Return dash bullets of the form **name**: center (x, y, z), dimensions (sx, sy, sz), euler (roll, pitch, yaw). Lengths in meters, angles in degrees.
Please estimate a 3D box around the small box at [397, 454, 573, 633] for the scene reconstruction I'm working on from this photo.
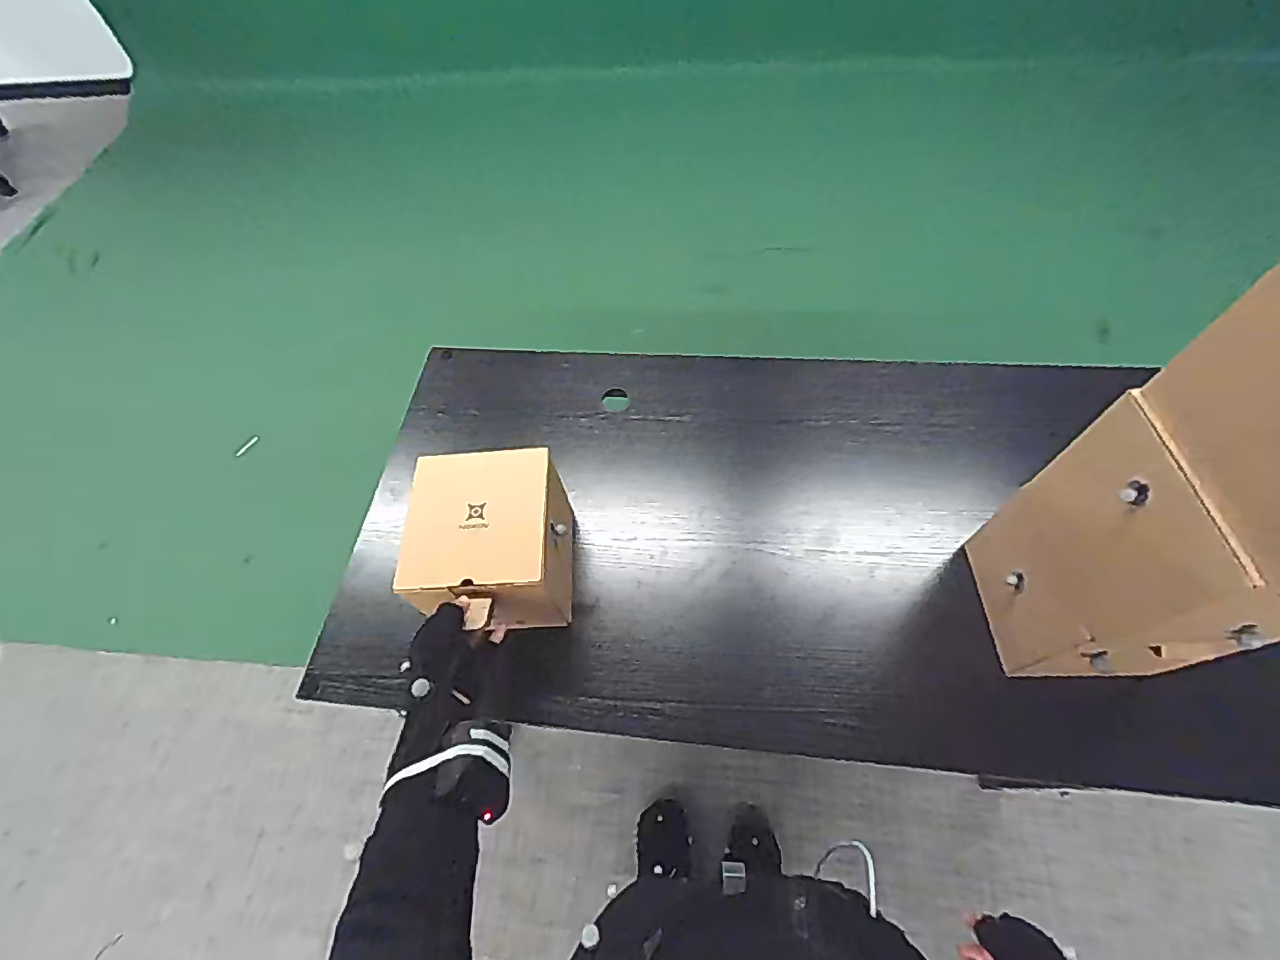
- **small box**: center (-0.182, 0.086, 0.695), dimensions (0.168, 0.176, 0.179), euler (-4, 61, 2)

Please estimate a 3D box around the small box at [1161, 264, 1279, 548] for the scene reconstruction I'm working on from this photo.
- **small box**: center (0.486, -0.053, 0.316), dimensions (0.168, 0.176, 0.179), euler (-4, 59, 3)

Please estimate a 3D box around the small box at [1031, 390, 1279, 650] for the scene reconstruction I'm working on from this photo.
- **small box**: center (0.493, 0.037, 0.472), dimensions (0.168, 0.176, 0.179), euler (-4, 60, 3)
